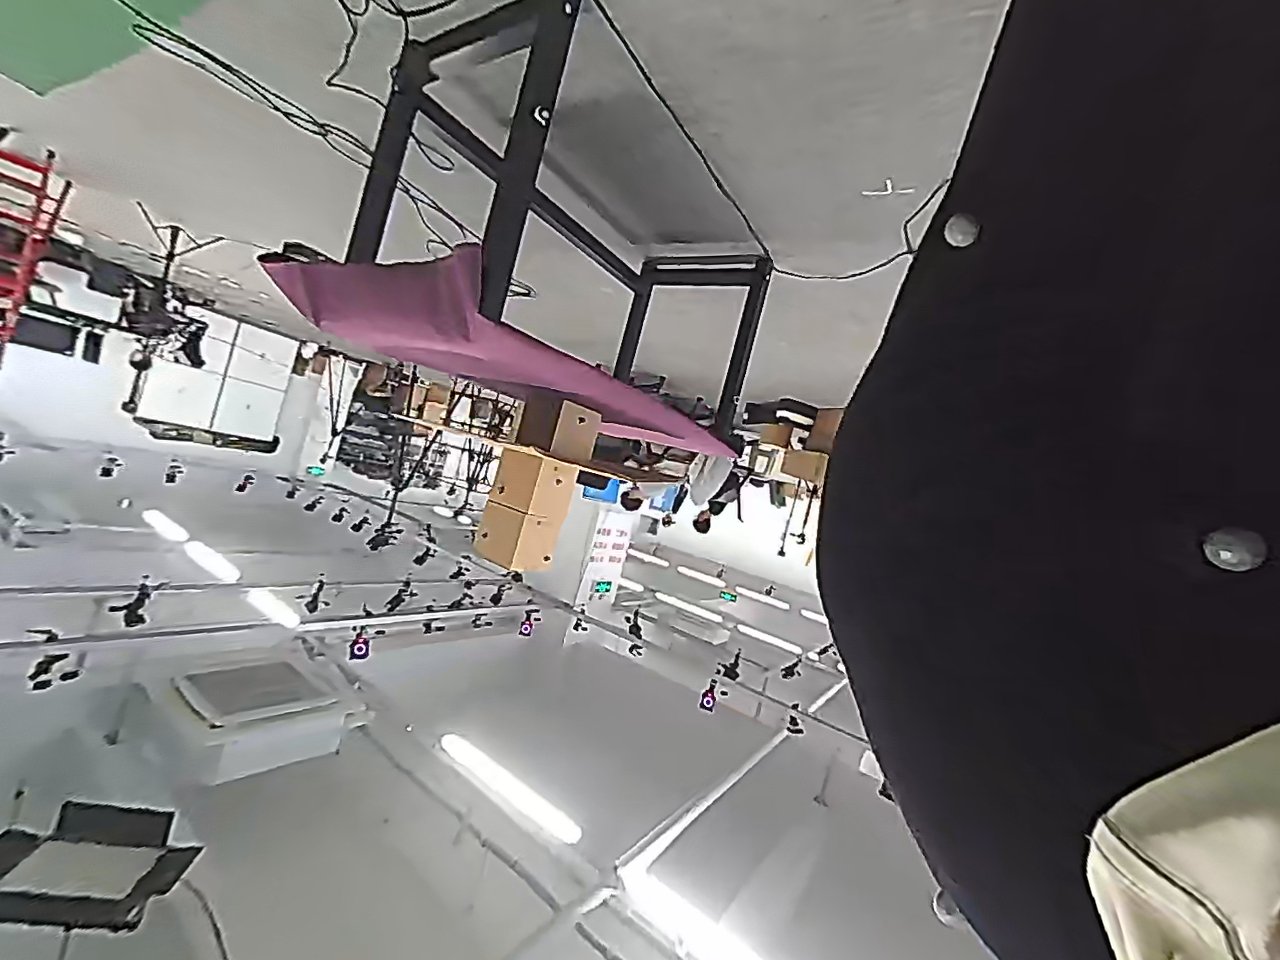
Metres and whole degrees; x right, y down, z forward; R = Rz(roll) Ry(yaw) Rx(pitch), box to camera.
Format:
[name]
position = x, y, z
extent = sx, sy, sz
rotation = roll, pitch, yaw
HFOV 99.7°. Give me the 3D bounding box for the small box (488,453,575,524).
[small box]
position = -0.321, 0.023, 1.626
extent = 0.179, 0.176, 0.168
rotation = 13, 177, 34
